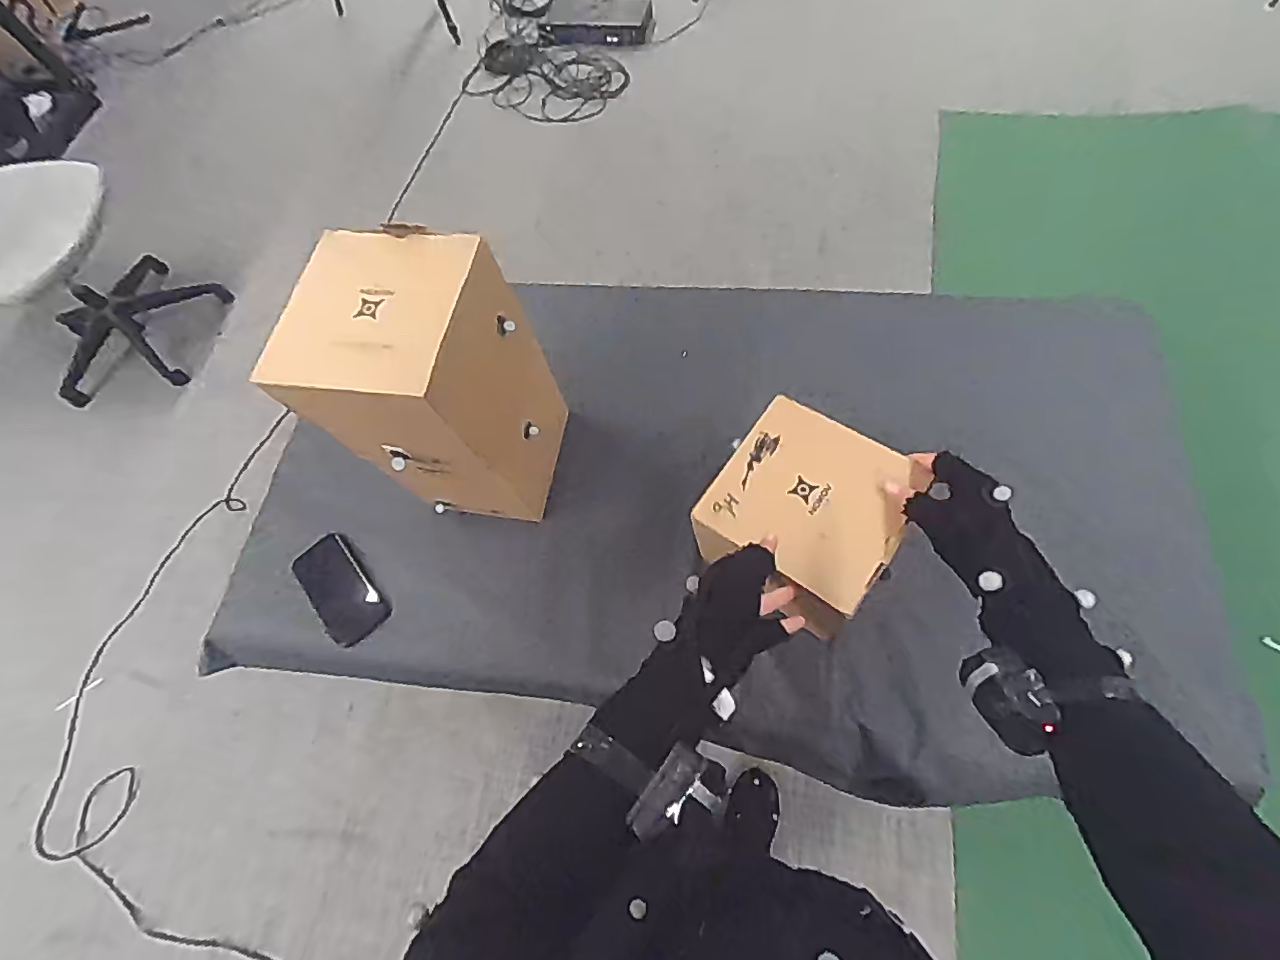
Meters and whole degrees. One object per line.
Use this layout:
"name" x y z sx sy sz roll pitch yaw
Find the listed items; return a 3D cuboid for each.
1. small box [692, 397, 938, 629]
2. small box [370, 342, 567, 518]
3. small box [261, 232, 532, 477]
"small box" 0.181 0.047 0.599 0.179 0.176 0.168 36 78 22
"small box" -0.204 -0.063 0.702 0.168 0.176 0.179 7 67 10
"small box" -0.223 -0.121 0.552 0.168 0.176 0.179 6 69 11
